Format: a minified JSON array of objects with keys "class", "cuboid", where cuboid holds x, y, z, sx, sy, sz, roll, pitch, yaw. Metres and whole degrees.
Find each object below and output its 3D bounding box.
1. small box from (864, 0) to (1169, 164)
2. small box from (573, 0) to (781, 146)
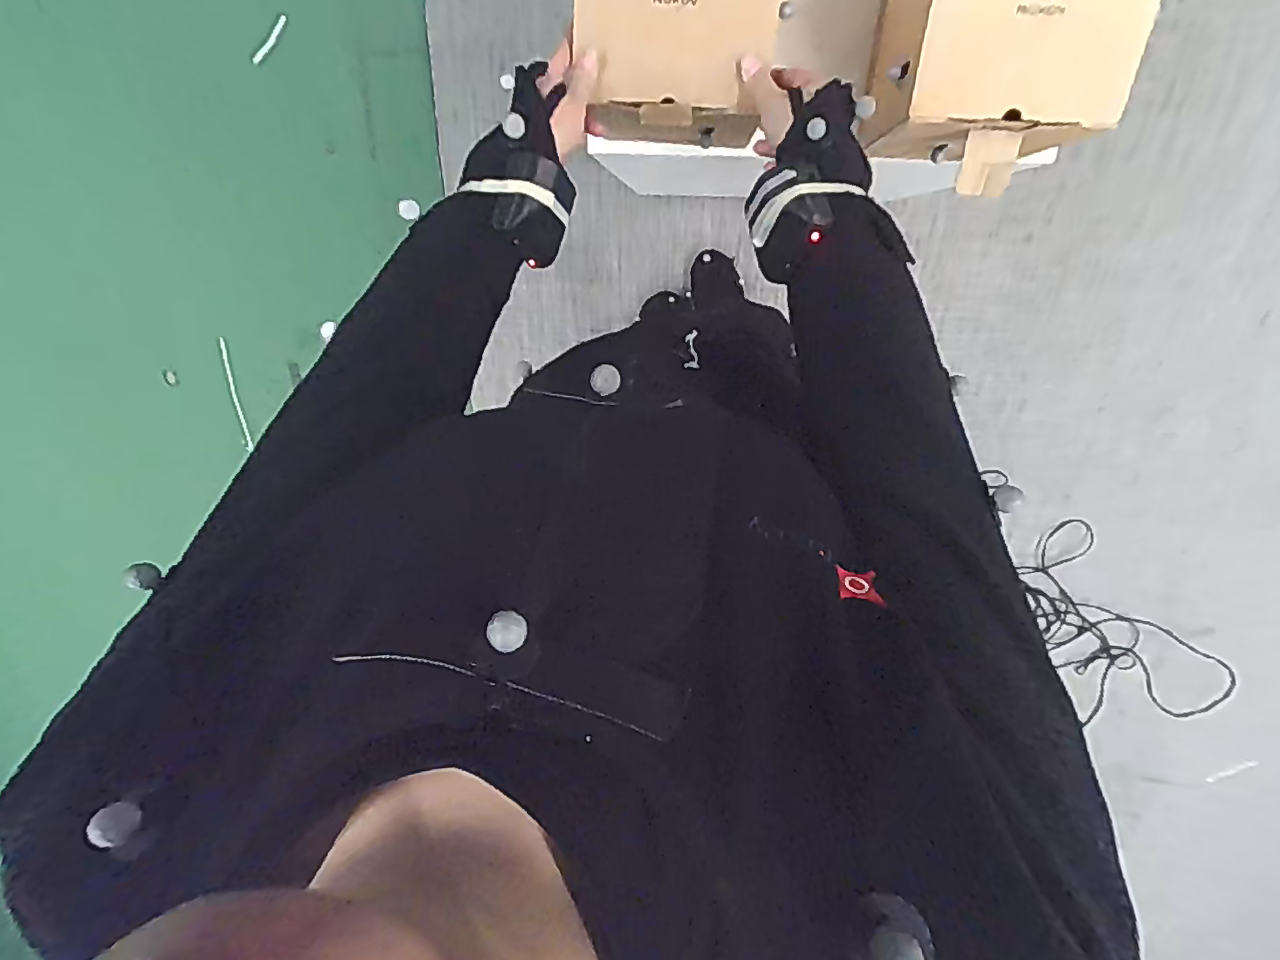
[{"class":"small box","cuboid":[0.313,-0.394,0.473,0.168,0.176,0.179,5,113,5]},{"class":"small box","cuboid":[0.038,-0.421,0.493,0.168,0.176,0.179,5,113,3]}]
